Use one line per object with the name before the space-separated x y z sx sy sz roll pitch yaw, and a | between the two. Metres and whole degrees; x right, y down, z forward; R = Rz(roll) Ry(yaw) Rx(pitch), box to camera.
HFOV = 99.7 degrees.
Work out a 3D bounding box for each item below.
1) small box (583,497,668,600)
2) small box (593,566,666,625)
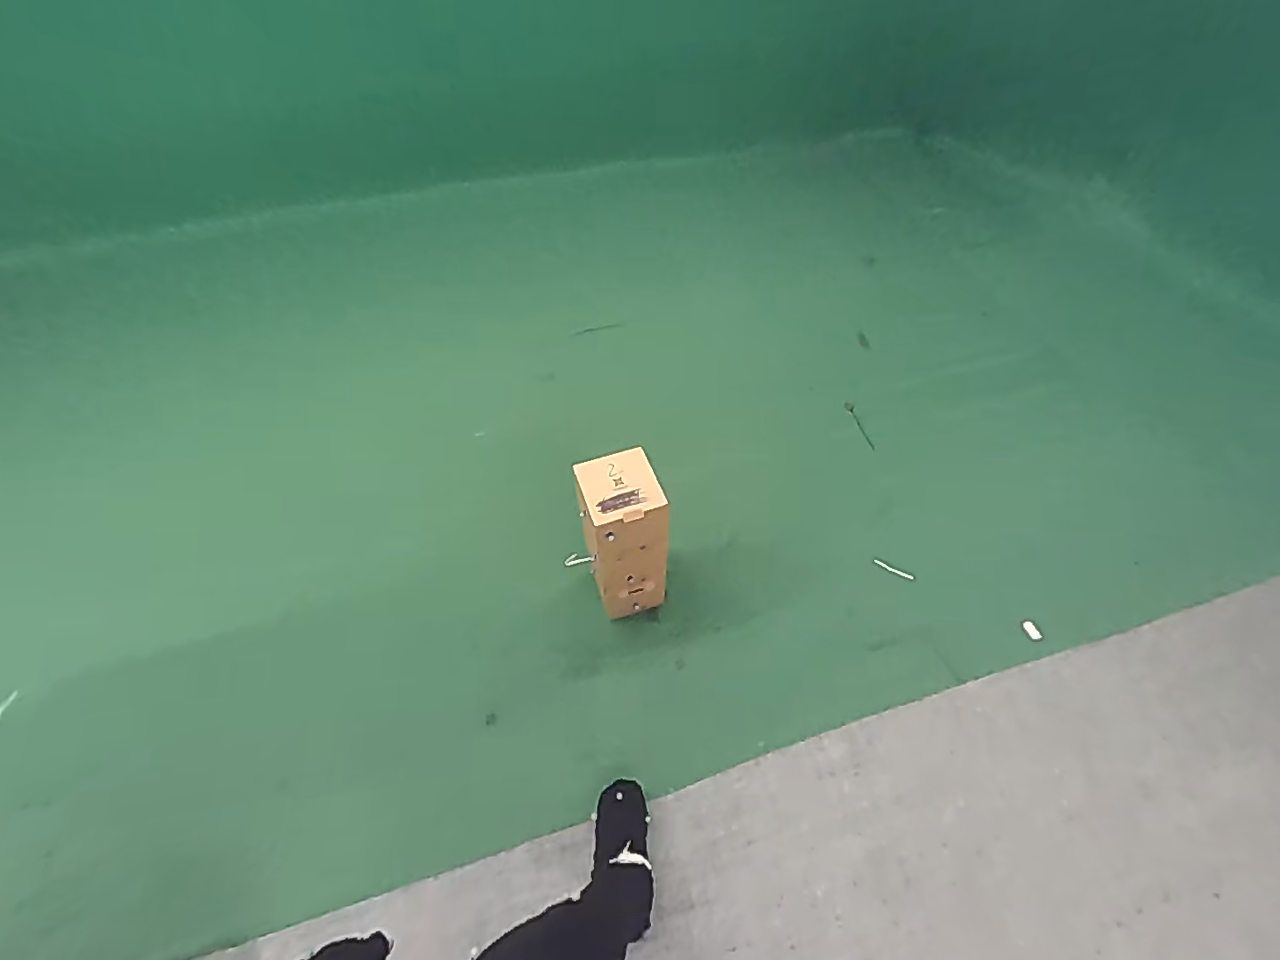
small box | -0.039 0.175 1.373 0.168 0.176 0.179 -16 55 -12
small box | -0.036 0.273 1.502 0.168 0.176 0.179 -15 54 -10
